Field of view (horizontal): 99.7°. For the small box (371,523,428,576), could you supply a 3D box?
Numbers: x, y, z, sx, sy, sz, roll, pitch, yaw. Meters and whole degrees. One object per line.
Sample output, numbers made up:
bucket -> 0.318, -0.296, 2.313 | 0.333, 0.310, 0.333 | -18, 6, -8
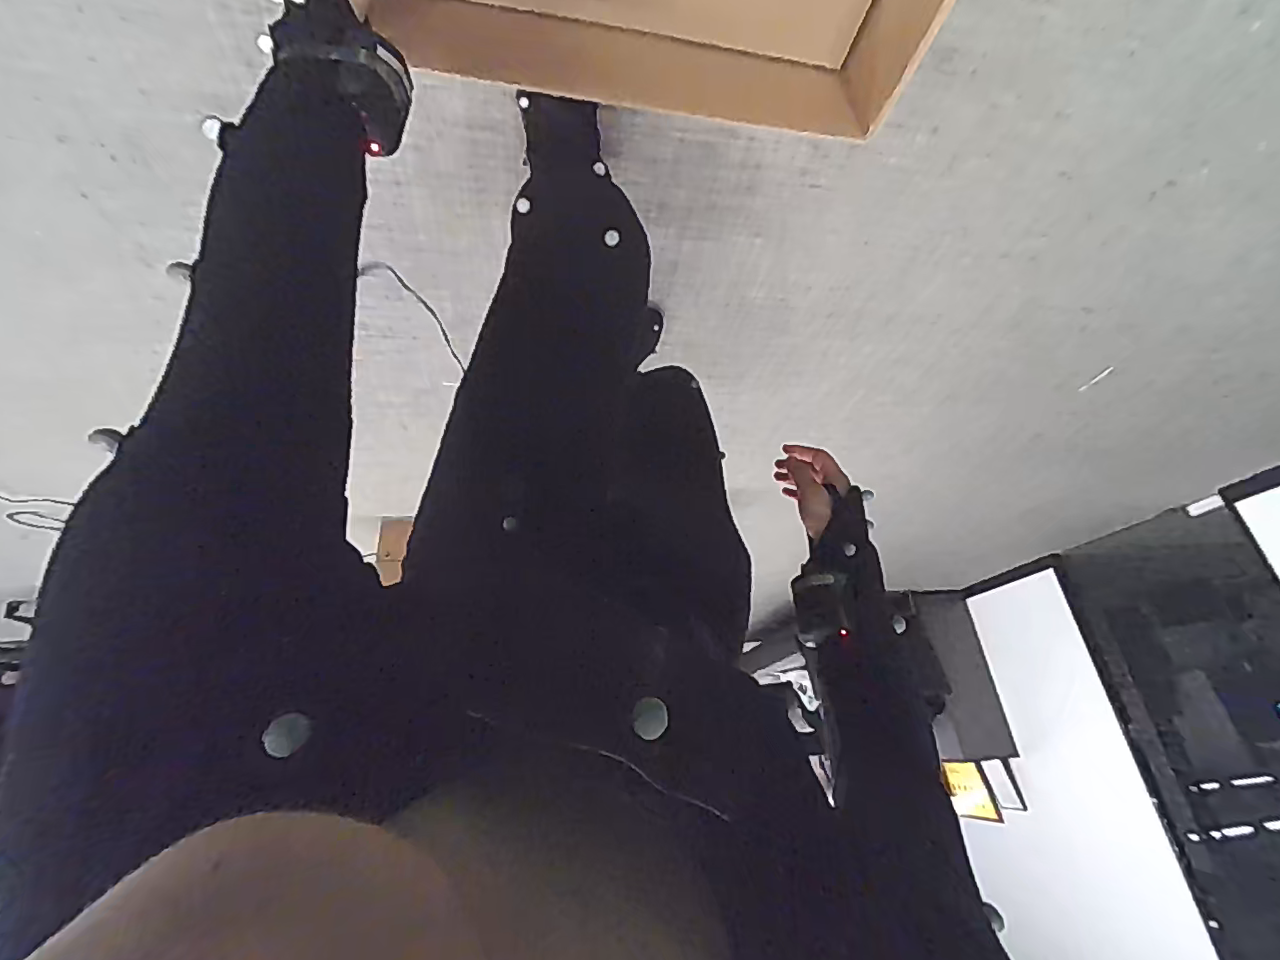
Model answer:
small box -> -0.939, 0.275, 2.127 | 0.179, 0.176, 0.168 | 2, 153, -11
